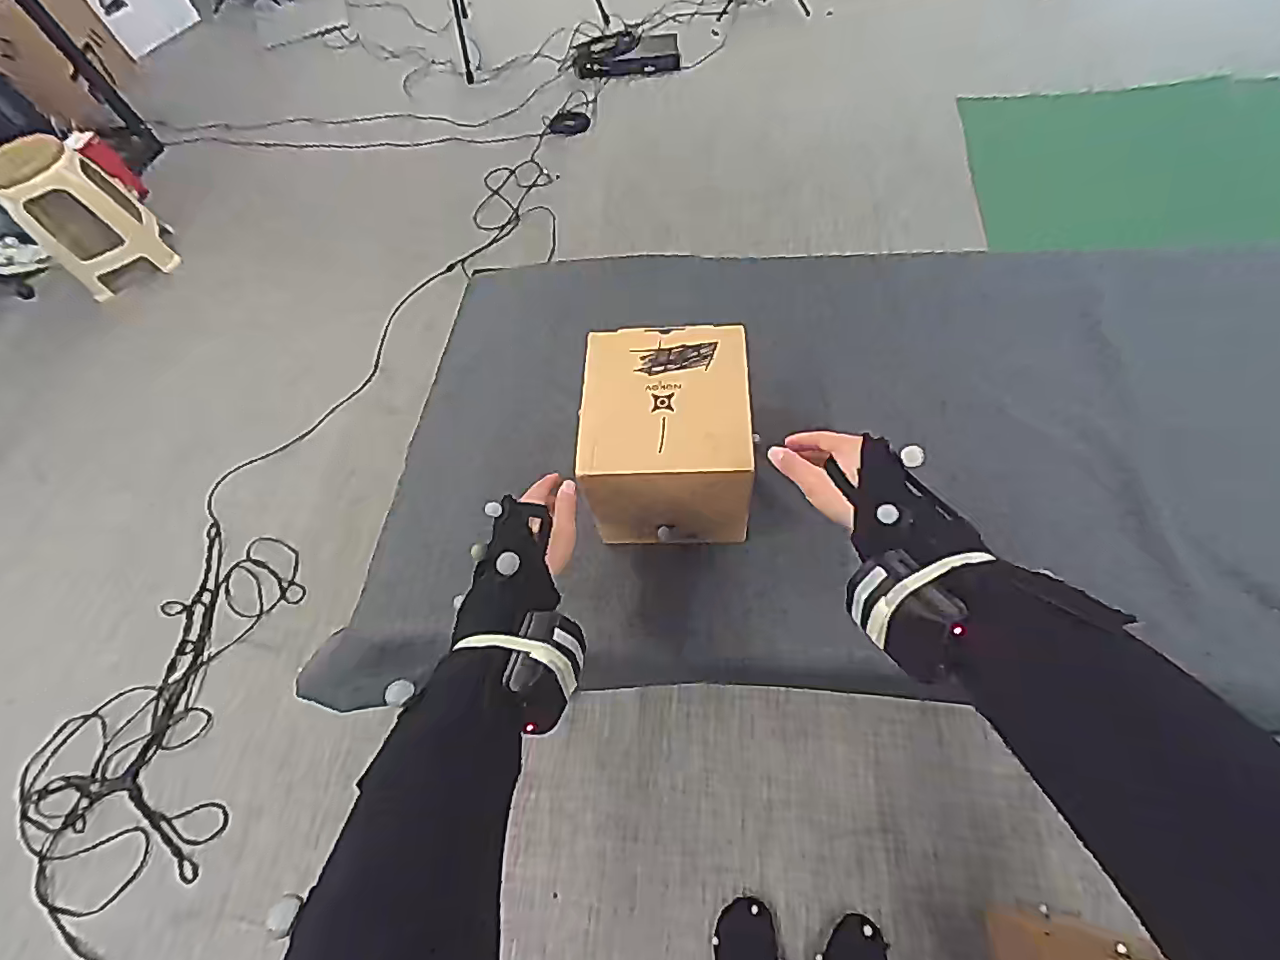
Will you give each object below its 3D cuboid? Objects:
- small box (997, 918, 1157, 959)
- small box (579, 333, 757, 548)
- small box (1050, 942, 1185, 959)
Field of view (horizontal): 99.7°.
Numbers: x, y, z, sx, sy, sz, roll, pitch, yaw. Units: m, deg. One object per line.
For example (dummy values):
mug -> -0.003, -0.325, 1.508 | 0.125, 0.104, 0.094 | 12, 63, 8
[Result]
small box -> 0.700, 0.820, 0.858 | 0.179, 0.176, 0.168 | 1, 59, 8
small box -> 0.036, -0.037, 0.599 | 0.168, 0.176, 0.179 | -2, 60, 7
small box -> 0.699, 0.740, 0.713 | 0.179, 0.176, 0.168 | -1, 60, 8
